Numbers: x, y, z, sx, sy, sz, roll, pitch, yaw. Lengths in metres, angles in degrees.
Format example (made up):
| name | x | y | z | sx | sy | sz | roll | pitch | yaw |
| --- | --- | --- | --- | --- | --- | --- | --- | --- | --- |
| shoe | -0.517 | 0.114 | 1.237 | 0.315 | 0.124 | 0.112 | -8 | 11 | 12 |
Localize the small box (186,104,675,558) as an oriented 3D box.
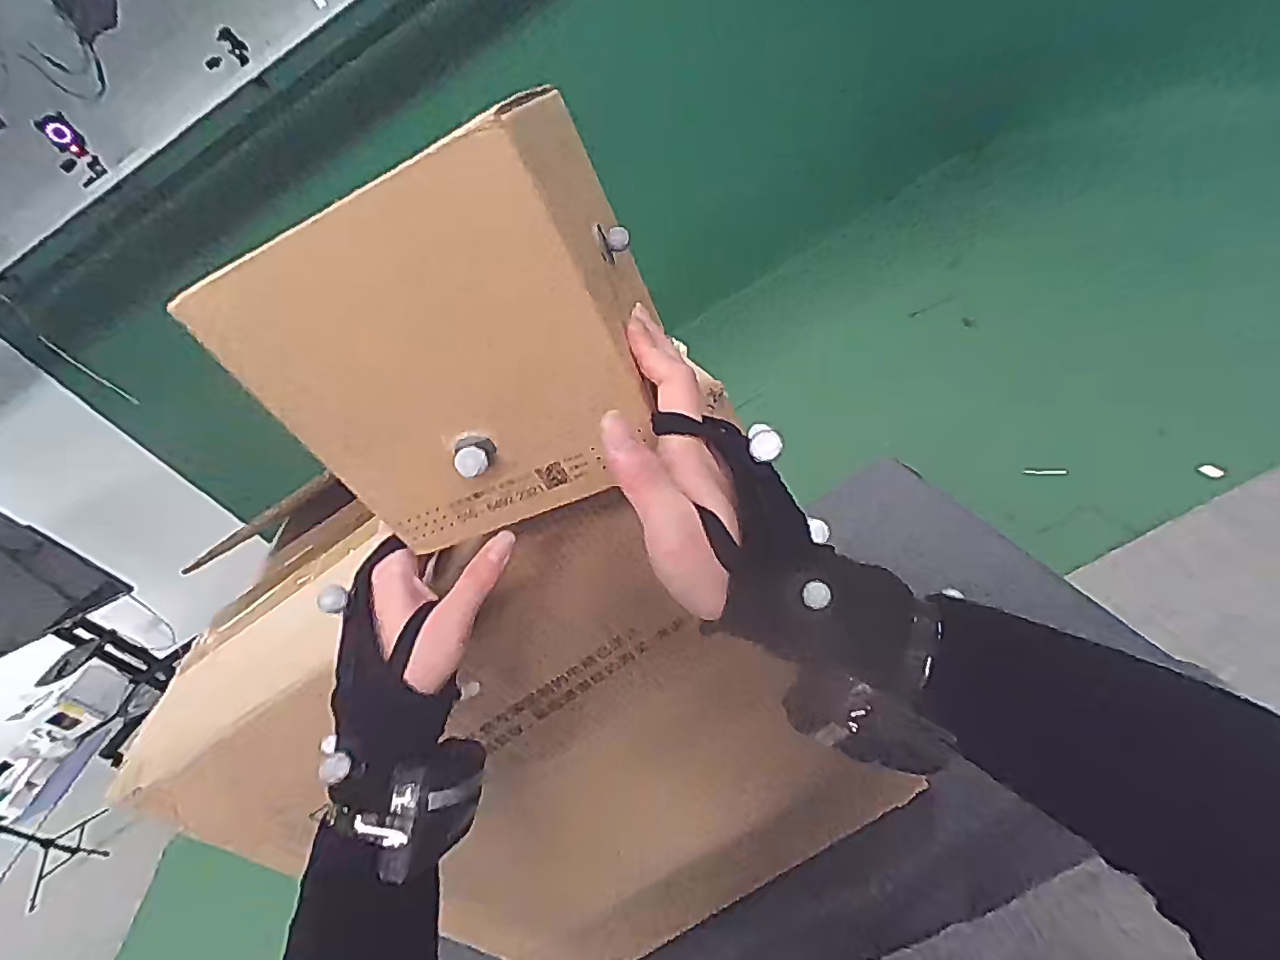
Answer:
| name | x | y | z | sx | sy | sz | roll | pitch | yaw |
| --- | --- | --- | --- | --- | --- | --- | --- | --- | --- |
| small box | -0.086 | -0.085 | 0.319 | 0.168 | 0.176 | 0.179 | -19 | 37 | 15 |
